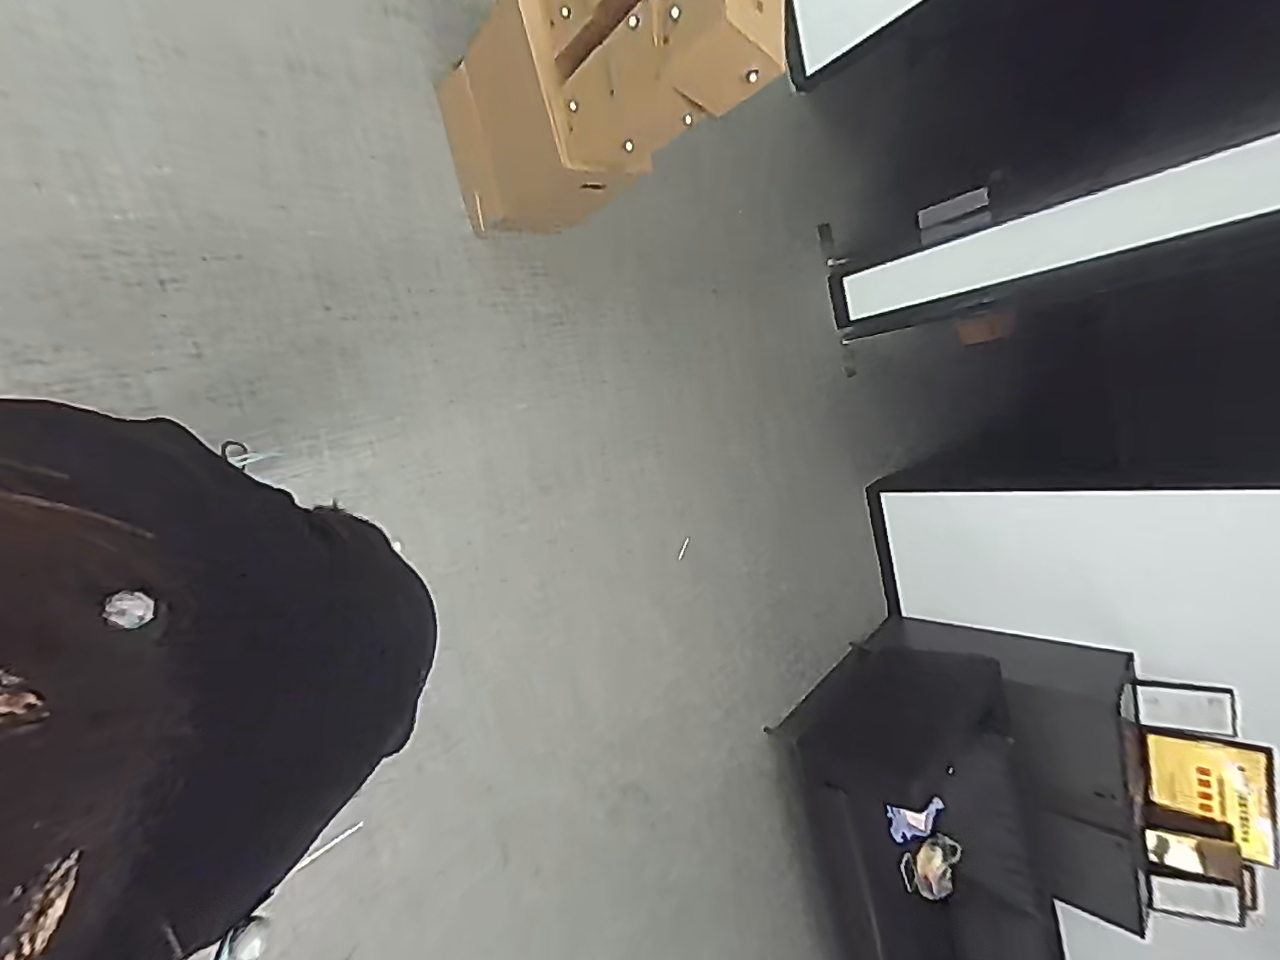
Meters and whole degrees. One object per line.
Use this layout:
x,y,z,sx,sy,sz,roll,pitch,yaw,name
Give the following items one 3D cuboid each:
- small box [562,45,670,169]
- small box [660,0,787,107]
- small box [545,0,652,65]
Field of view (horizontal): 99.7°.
-0.058,-0.862,1.273,0.179,0.176,0.168,-15,97,-39,small box
0.158,-0.854,1.023,0.179,0.176,0.168,1,87,-40,small box
-0.105,-1.090,1.242,0.179,0.176,0.168,-21,104,-38,small box
